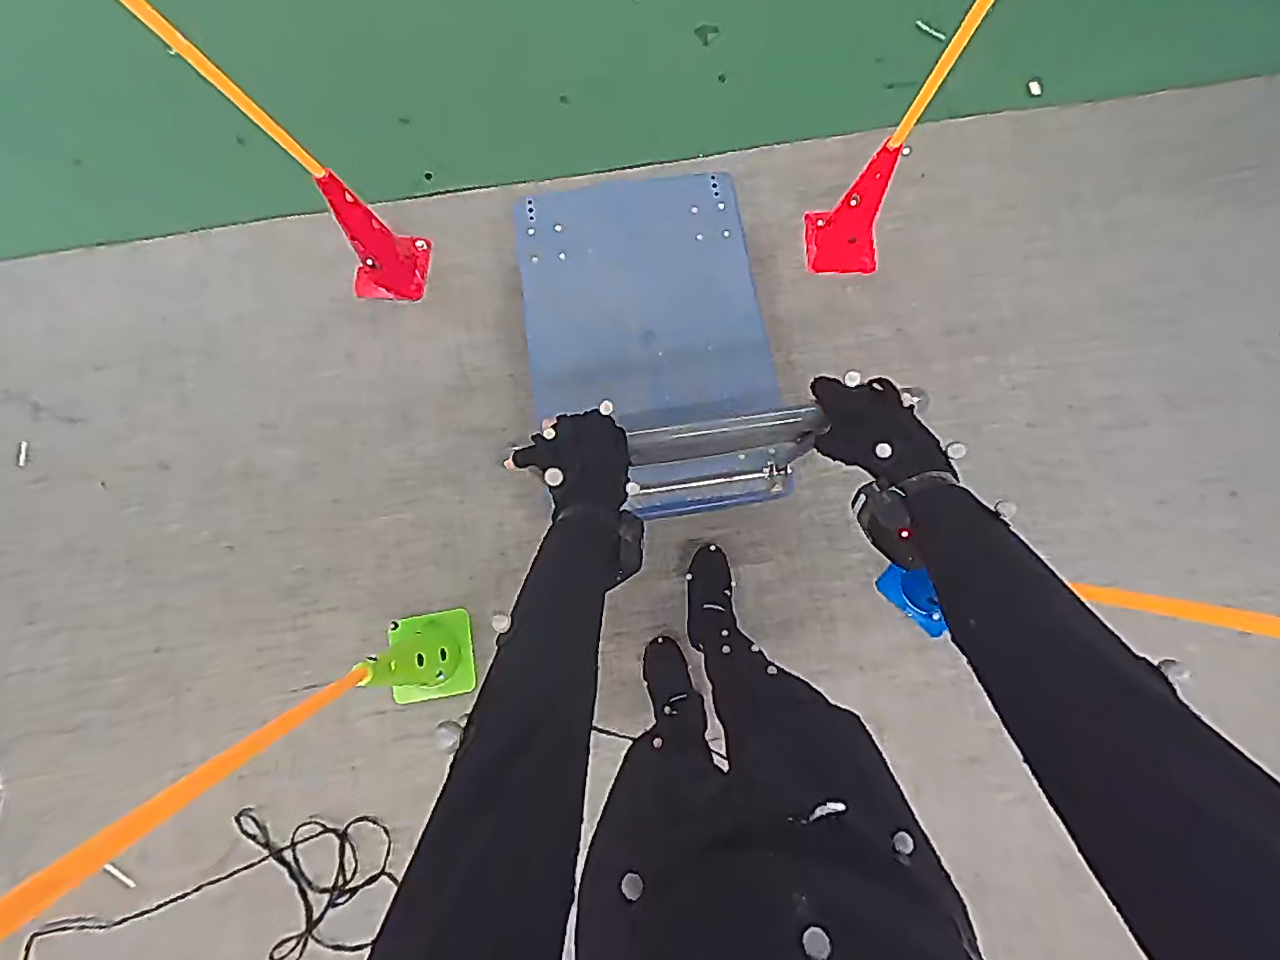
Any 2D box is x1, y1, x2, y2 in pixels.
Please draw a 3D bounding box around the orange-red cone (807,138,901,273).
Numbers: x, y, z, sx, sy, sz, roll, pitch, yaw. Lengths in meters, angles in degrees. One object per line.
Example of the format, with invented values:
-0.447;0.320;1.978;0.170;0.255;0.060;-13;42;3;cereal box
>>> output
0.581;-0.723;1.399;0.198;0.360;0.199;2;78;1;orange-red cone
